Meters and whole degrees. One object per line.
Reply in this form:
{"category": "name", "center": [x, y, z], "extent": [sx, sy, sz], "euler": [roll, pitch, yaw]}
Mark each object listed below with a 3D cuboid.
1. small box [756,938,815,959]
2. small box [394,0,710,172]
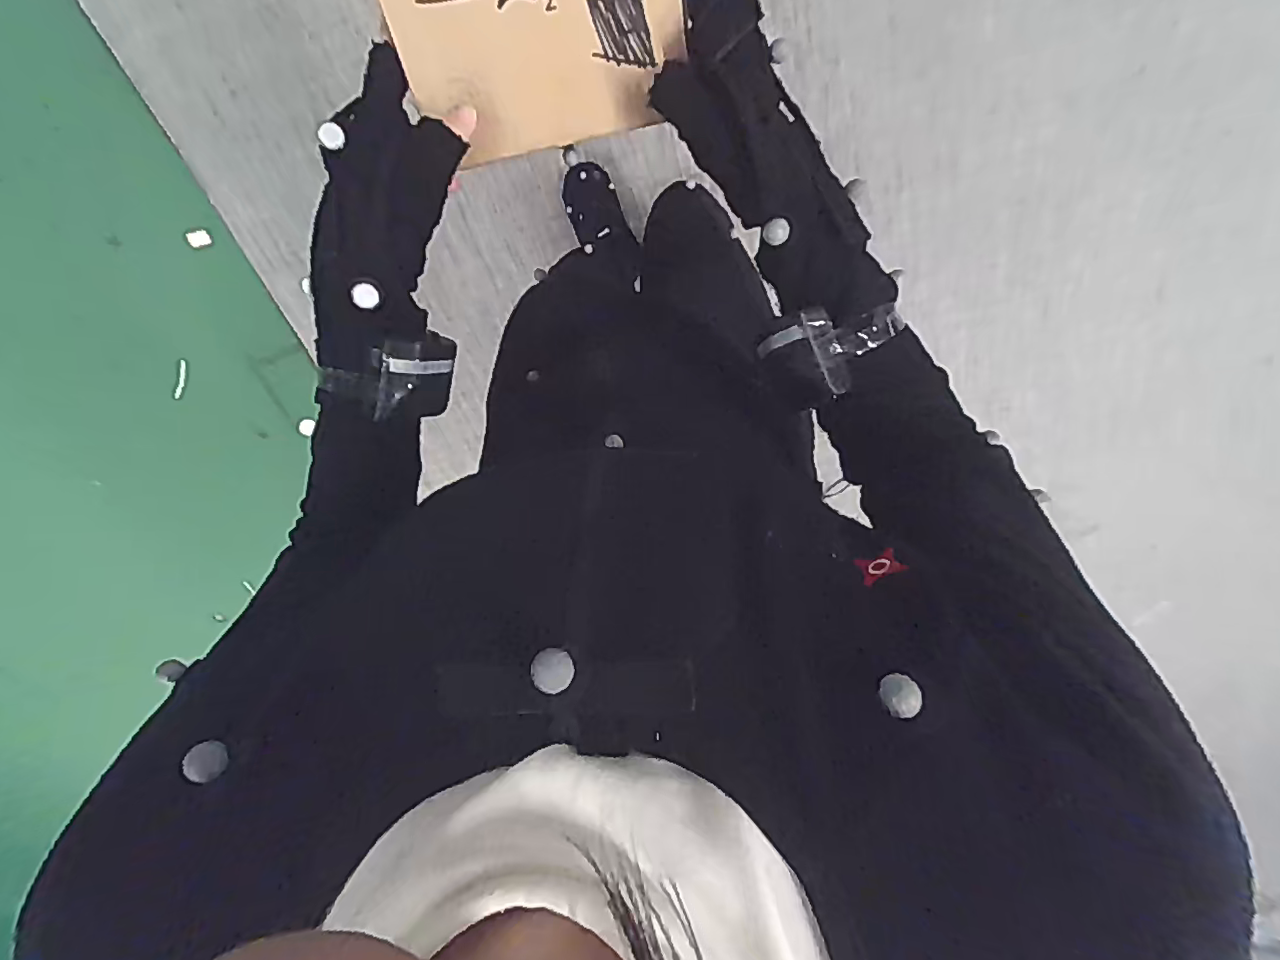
{"category": "small box", "center": [0.470, 1.570, 1.688], "extent": [0.179, 0.176, 0.168], "euler": [-17, 125, 9]}
{"category": "small box", "center": [-0.059, -0.336, 0.376], "extent": [0.179, 0.176, 0.168], "euler": [-12, 124, 9]}
